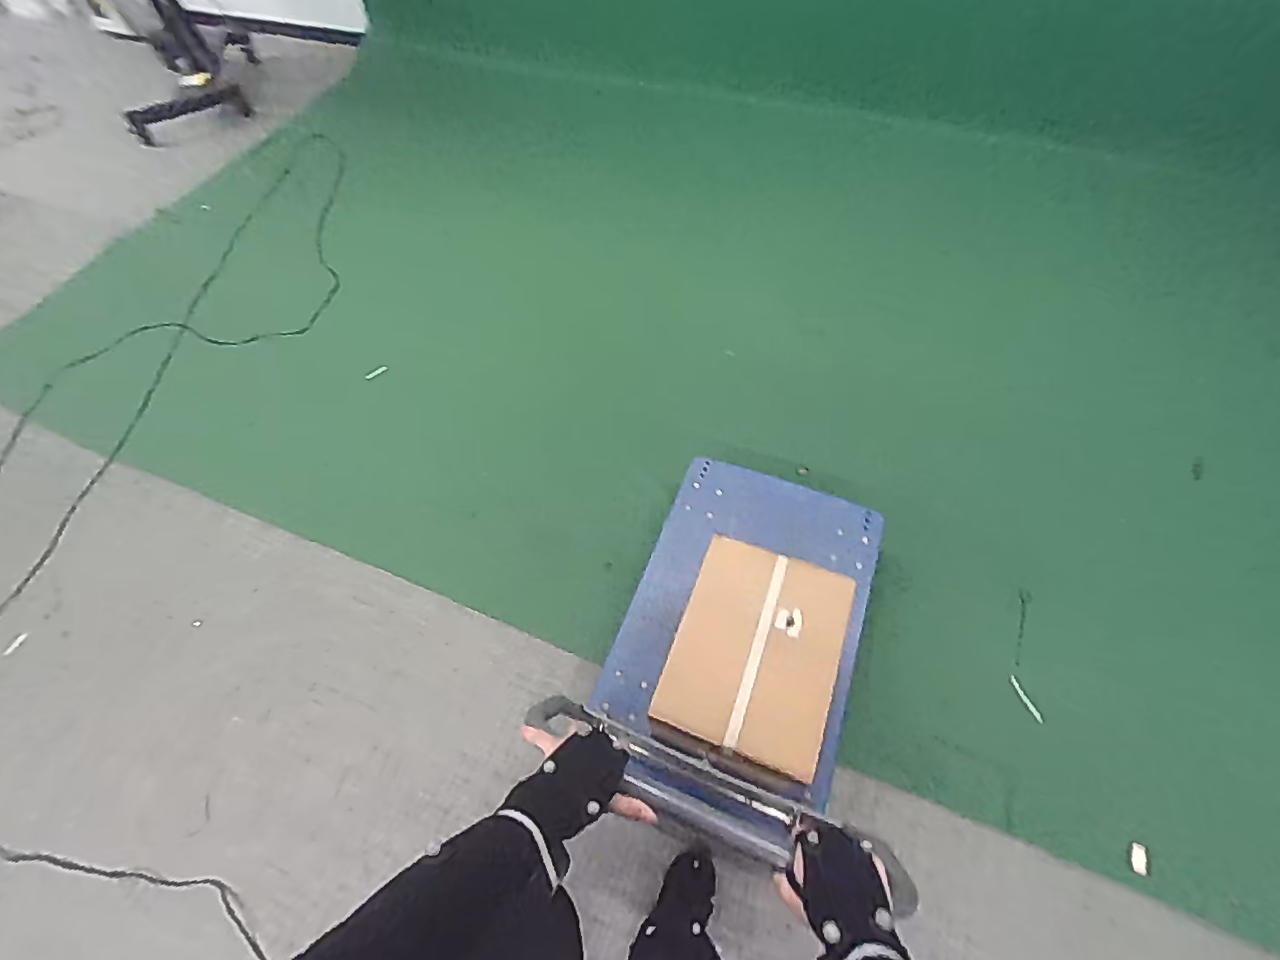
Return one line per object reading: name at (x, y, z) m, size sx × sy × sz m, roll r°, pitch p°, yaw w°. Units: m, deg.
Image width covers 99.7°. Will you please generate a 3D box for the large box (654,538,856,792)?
large box at (0.243, 0.407, 1.185) m, size 0.320 × 0.320 × 0.408 m, roll 19°, pitch 61°, yaw 13°
